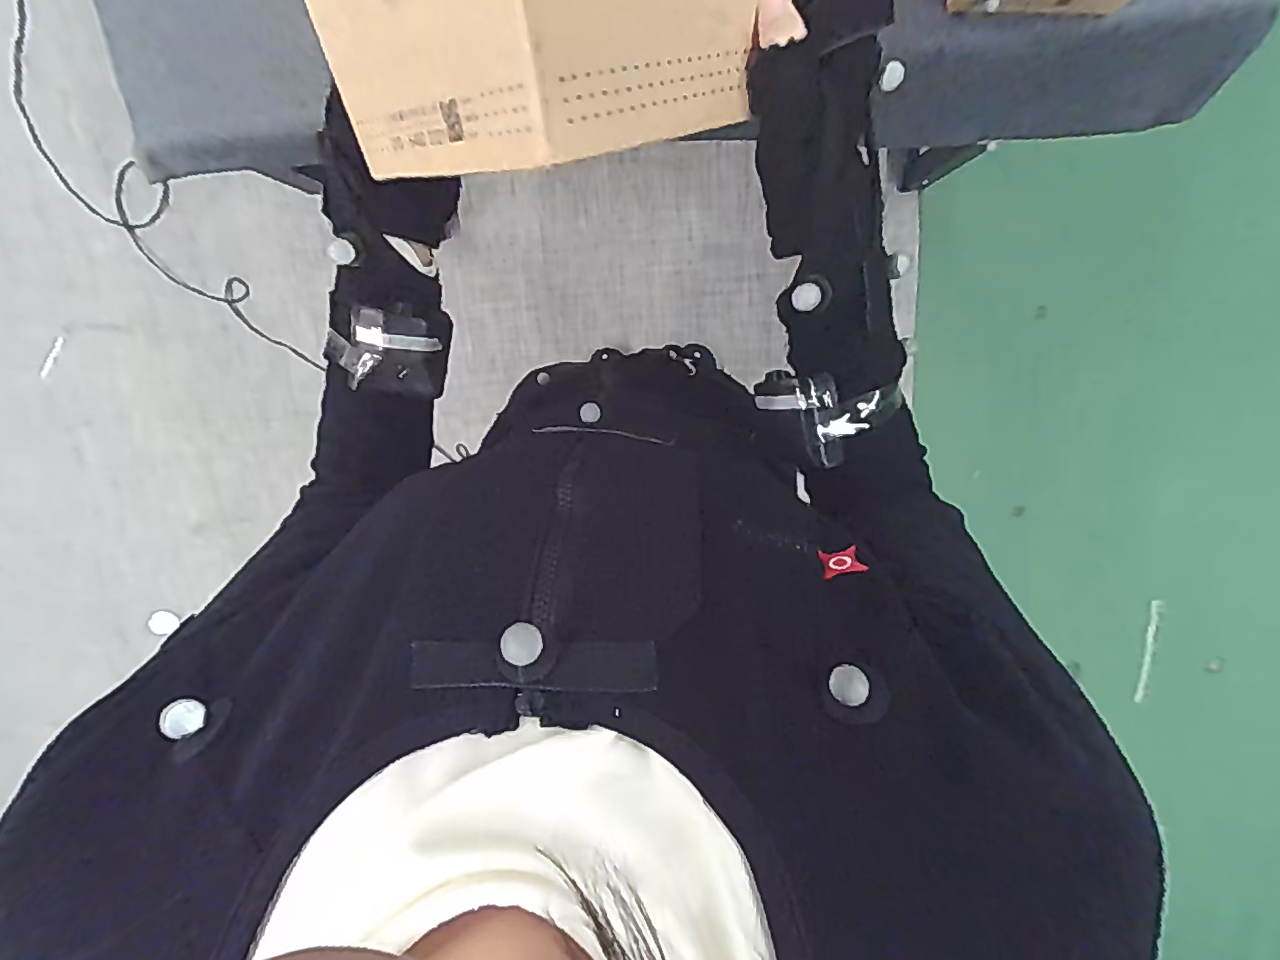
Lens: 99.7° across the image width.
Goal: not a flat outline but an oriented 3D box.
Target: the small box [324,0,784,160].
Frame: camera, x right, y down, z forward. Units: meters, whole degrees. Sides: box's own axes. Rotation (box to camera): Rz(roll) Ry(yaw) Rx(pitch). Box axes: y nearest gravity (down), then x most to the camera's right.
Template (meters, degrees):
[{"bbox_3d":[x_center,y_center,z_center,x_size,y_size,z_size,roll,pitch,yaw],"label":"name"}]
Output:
[{"bbox_3d":[-0.042,-0.255,0.247,0.168,0.179,0.176,25,139,36],"label":"small box"}]

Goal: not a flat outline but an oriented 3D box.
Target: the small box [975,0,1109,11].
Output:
[{"bbox_3d":[0.390,-0.543,0.455,0.168,0.176,0.179,4,103,2],"label":"small box"}]
